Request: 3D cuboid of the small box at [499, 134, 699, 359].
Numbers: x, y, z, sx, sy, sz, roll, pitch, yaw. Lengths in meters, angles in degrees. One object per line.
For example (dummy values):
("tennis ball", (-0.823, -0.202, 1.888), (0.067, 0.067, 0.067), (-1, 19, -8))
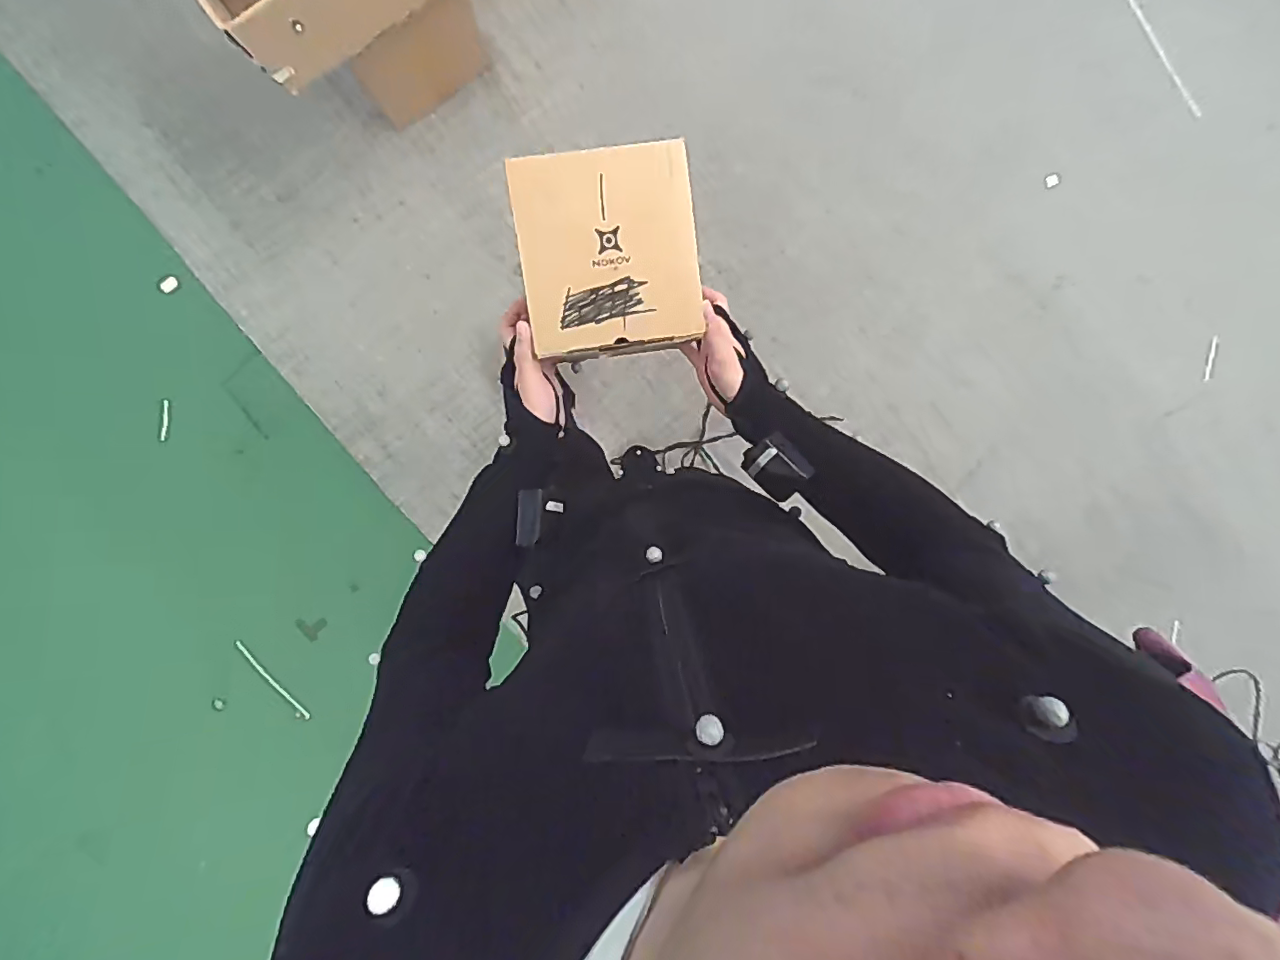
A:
("small box", (-0.038, -0.224, 0.566), (0.168, 0.176, 0.179), (-8, 99, -3))
